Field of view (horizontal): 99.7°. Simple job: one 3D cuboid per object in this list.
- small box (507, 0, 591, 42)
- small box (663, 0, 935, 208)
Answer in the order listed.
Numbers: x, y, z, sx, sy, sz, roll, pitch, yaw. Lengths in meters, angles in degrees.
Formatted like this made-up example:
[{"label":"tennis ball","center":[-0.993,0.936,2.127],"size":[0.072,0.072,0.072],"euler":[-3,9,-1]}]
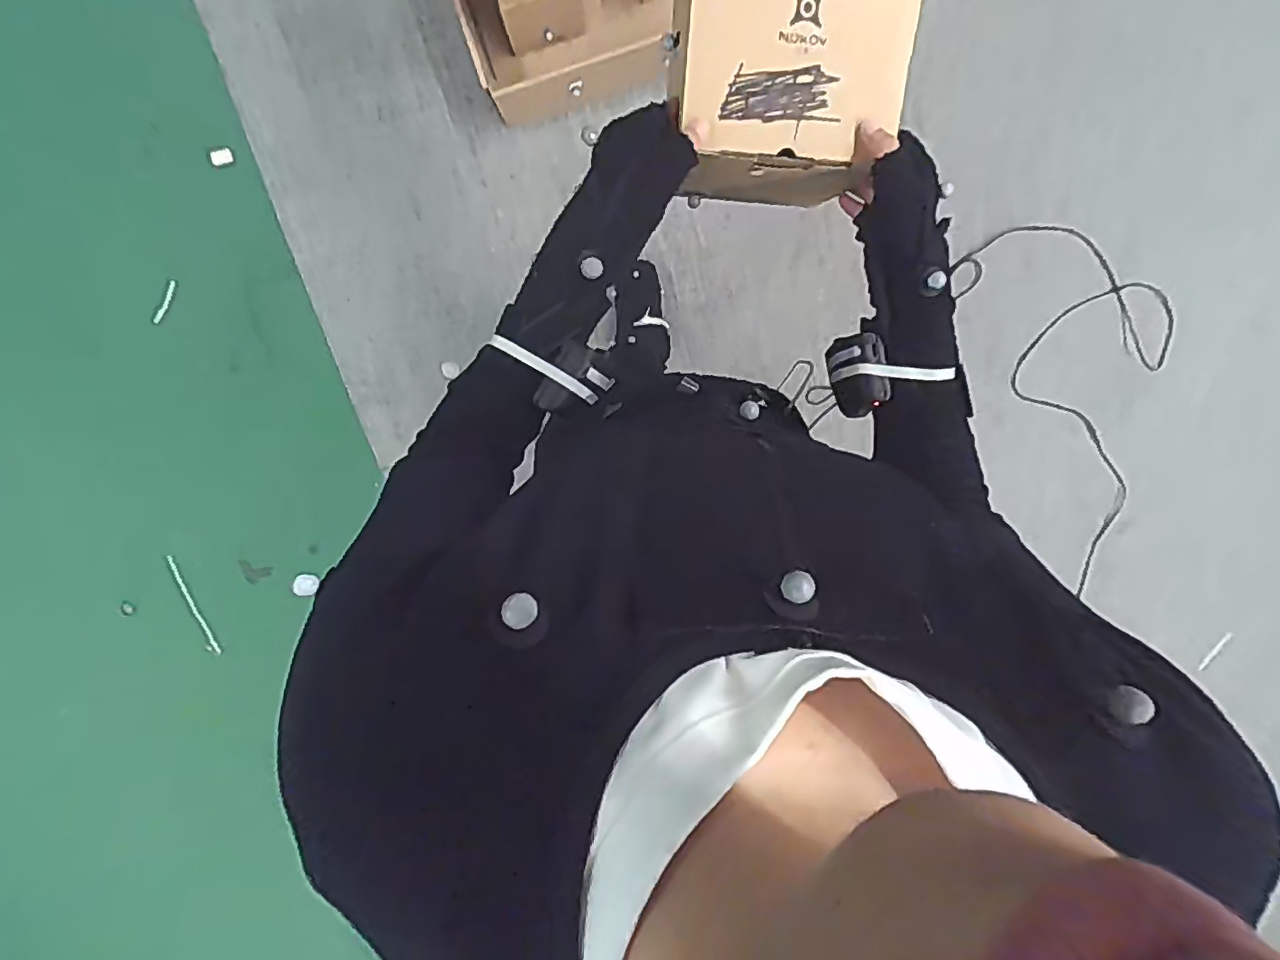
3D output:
[{"label":"small box","center":[-0.201,-1.031,1.073],"size":[0.168,0.176,0.179],"euler":[-16,103,2]},{"label":"small box","center":[0.117,-0.343,0.453],"size":[0.168,0.176,0.179],"euler":[6,107,-7]}]
